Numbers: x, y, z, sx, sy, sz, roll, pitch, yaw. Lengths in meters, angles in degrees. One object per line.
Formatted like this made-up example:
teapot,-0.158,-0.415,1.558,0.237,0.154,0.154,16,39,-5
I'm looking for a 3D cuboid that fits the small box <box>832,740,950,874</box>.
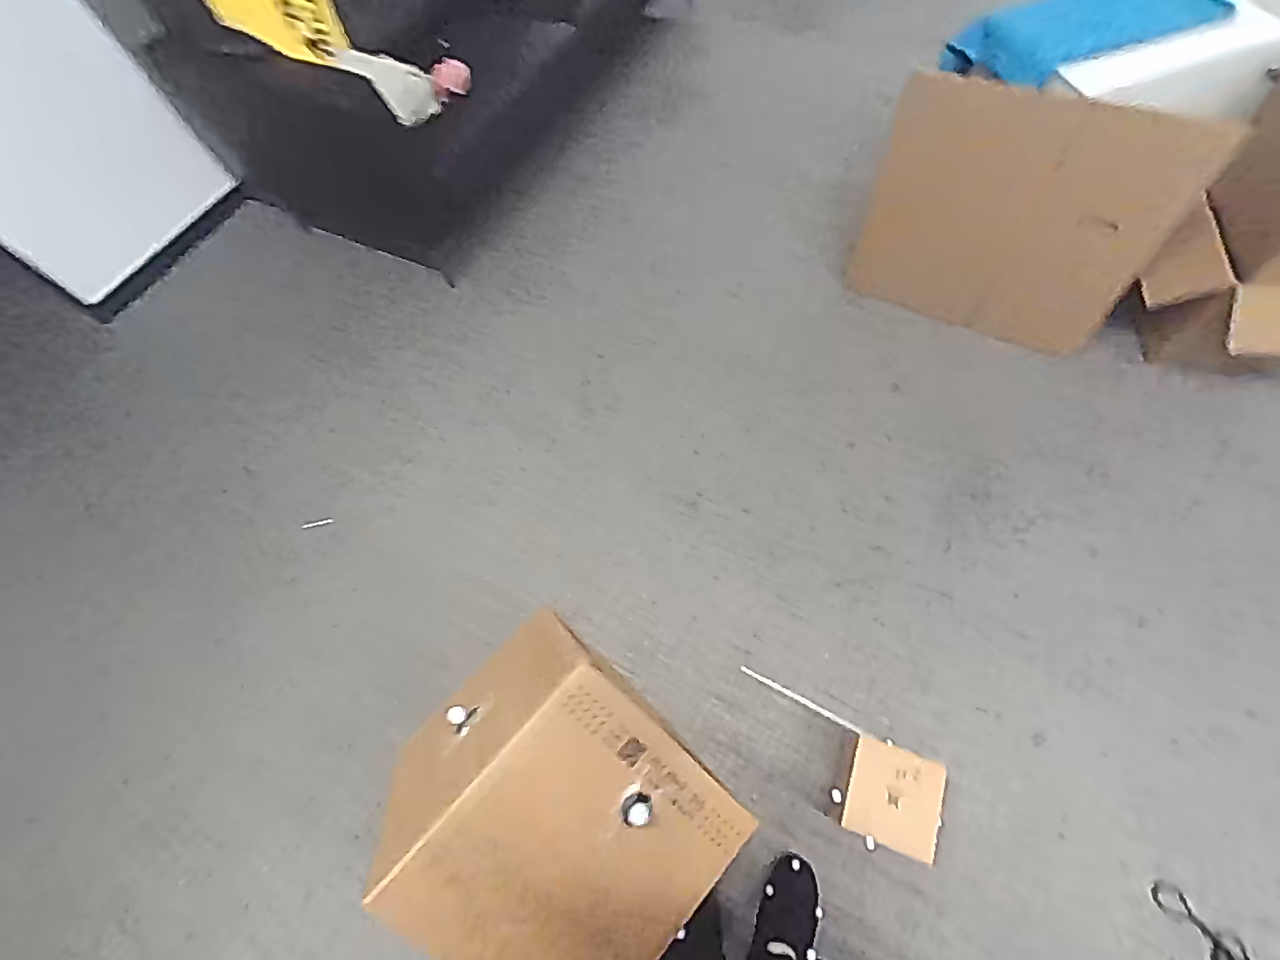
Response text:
small box,0.499,0.653,1.098,0.168,0.176,0.179,17,66,17
